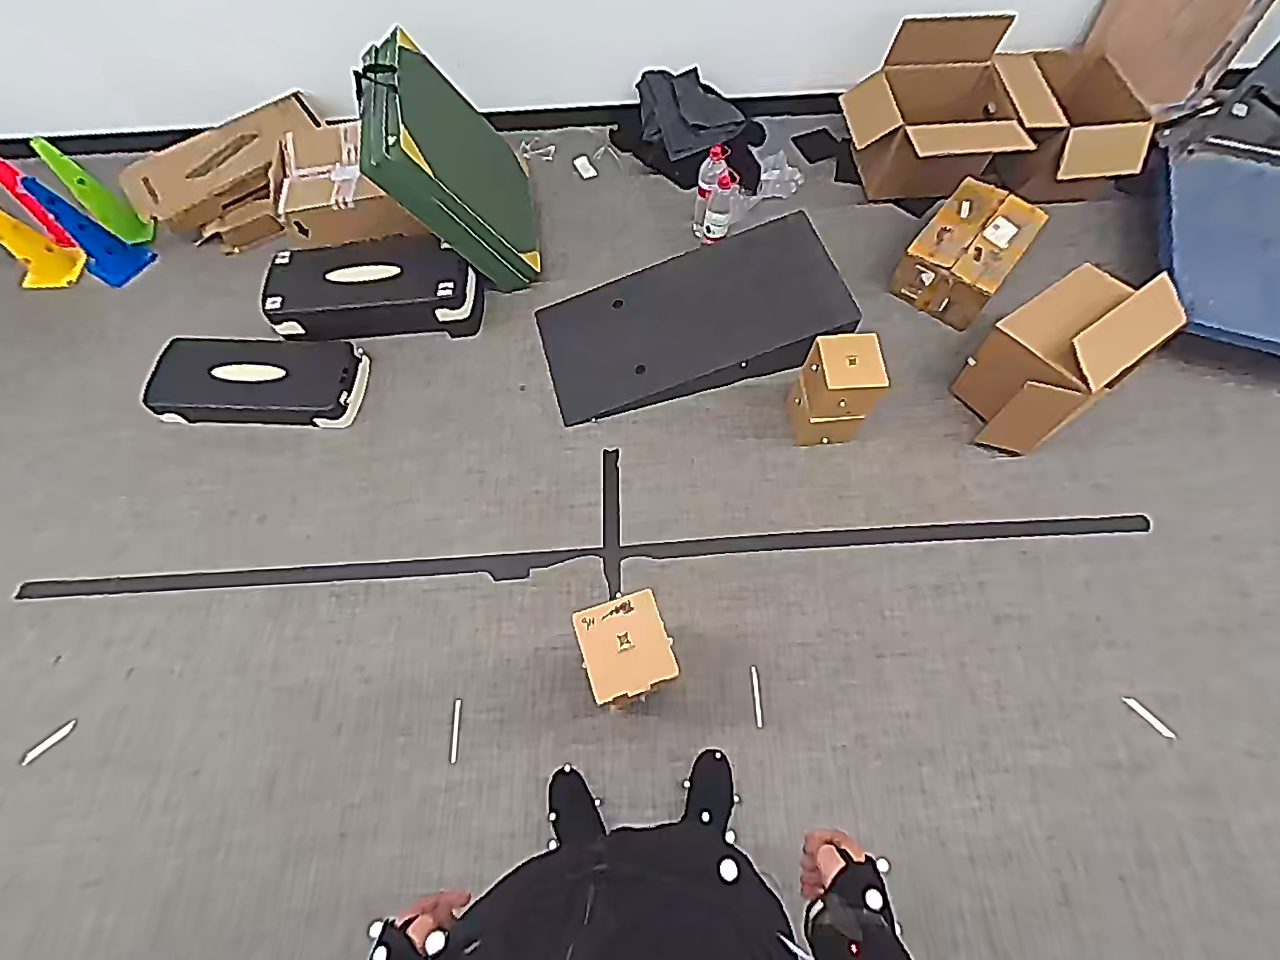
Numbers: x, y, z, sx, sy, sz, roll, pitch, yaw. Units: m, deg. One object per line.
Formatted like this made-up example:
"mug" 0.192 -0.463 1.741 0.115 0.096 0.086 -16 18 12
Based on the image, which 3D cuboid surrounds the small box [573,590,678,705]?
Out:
"small box" -0.027 0.345 1.107 0.168 0.176 0.179 -17 69 -6
